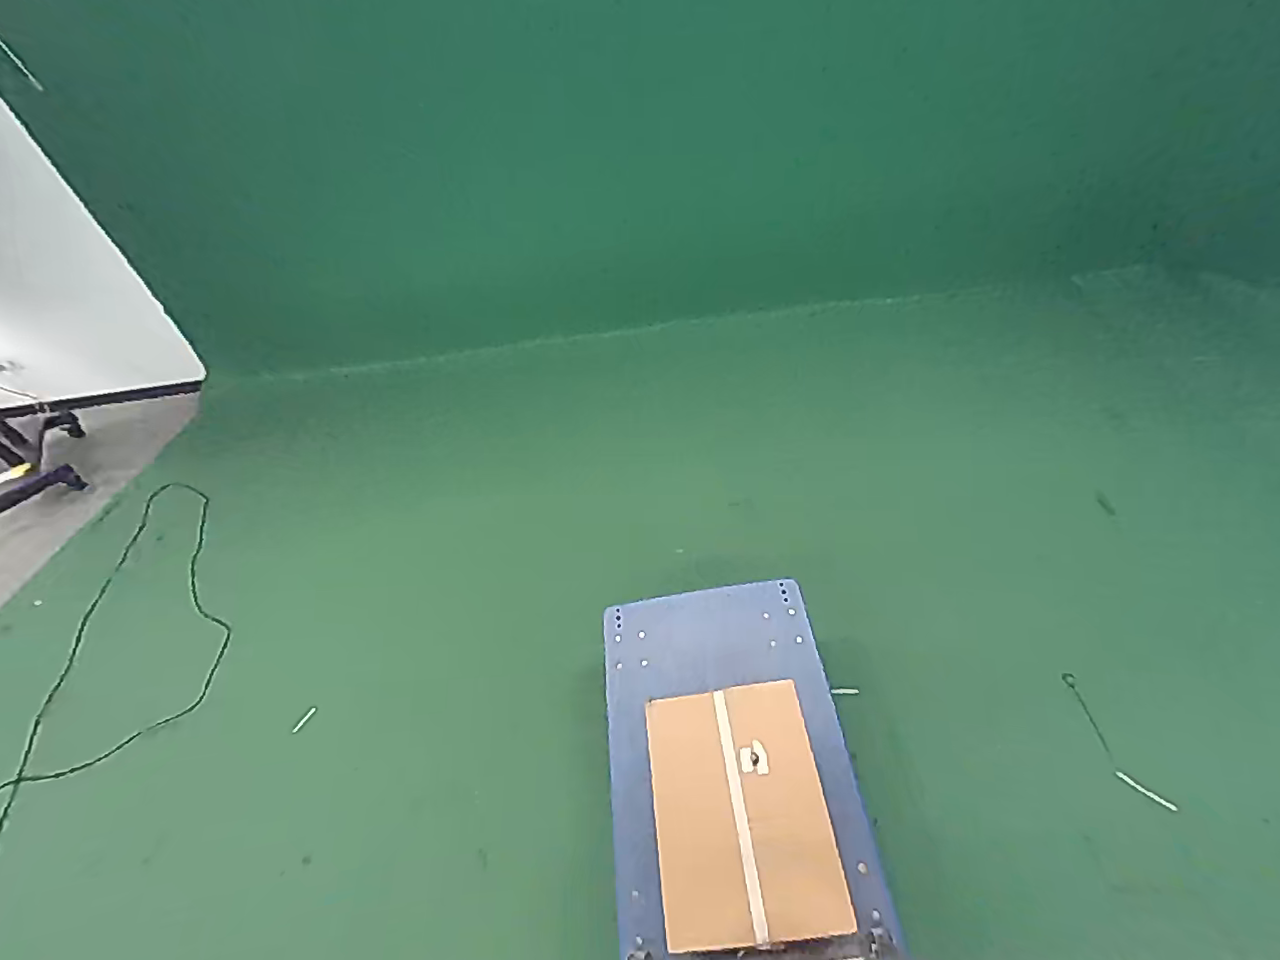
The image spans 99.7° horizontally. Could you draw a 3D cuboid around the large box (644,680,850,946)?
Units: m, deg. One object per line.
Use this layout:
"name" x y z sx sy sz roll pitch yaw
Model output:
"large box" 0.205 0.687 1.128 0.320 0.320 0.408 -10 51 5
